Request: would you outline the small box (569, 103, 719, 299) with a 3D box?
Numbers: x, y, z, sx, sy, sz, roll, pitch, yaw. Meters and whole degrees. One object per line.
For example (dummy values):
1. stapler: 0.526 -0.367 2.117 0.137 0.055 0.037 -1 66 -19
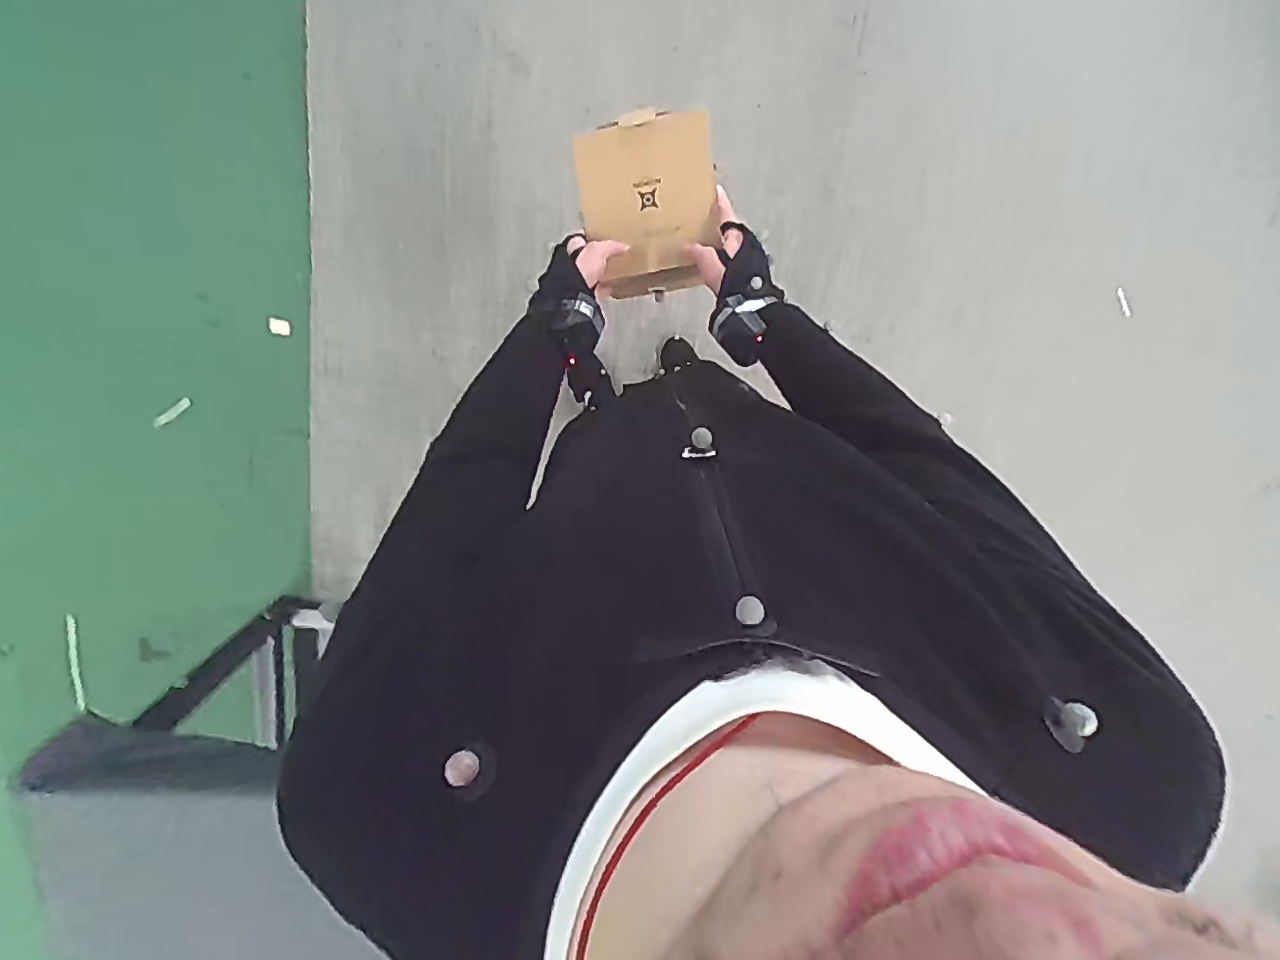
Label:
1. small box: 0.015 -0.349 0.713 0.168 0.176 0.179 -5 100 10
